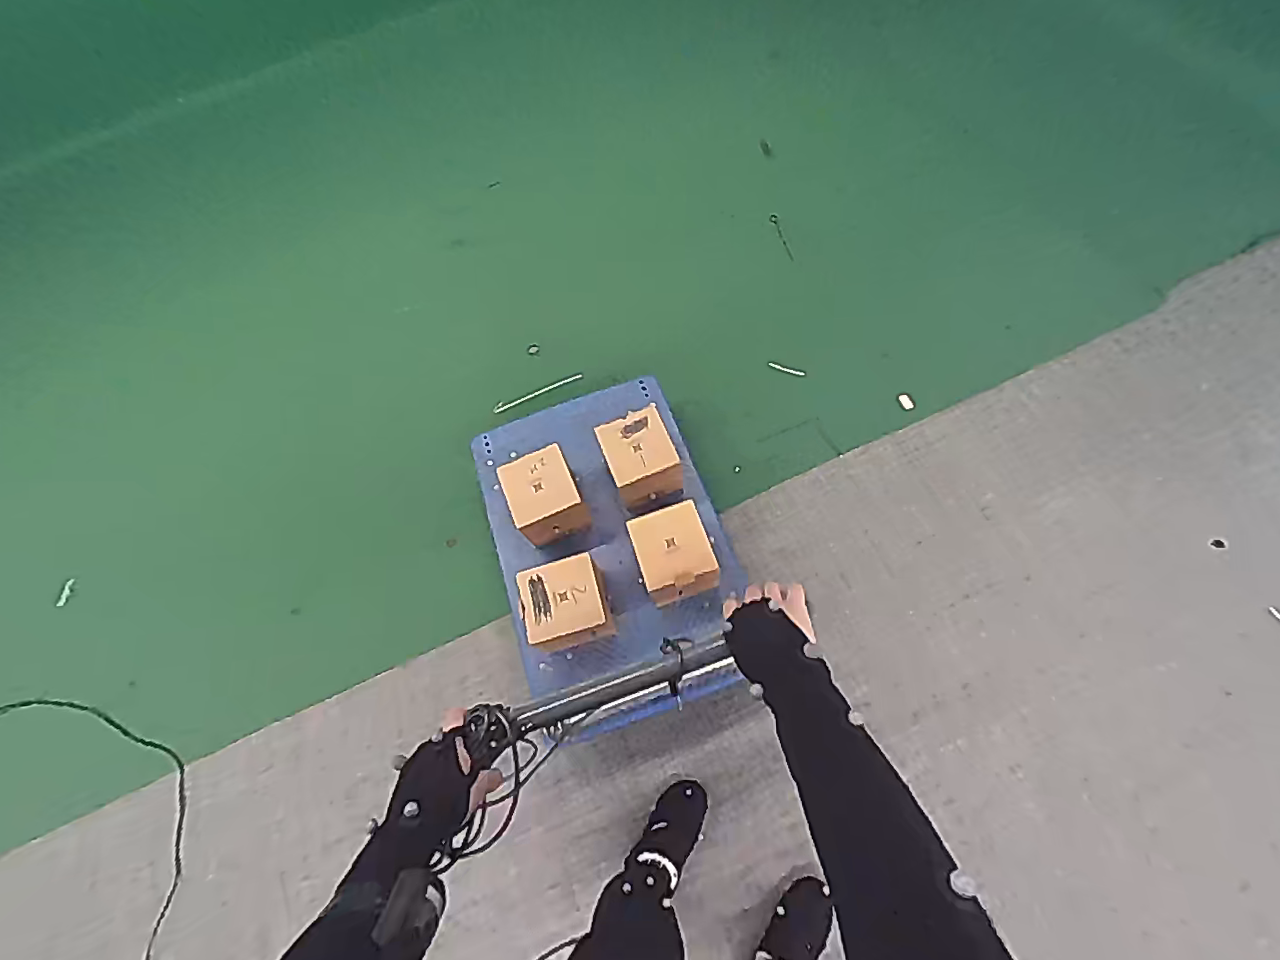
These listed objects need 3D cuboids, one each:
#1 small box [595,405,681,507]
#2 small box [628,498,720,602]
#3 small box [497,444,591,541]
[{"bbox_3d":[-0.001,-0.058,1.389,0.168,0.176,0.179,-22,67,-2],"label":"small box"},{"bbox_3d":[0.079,0.171,1.283,0.168,0.176,0.179,-20,67,-2],"label":"small box"},{"bbox_3d":[-0.238,0.041,1.374,0.168,0.176,0.179,-23,66,-4],"label":"small box"}]
